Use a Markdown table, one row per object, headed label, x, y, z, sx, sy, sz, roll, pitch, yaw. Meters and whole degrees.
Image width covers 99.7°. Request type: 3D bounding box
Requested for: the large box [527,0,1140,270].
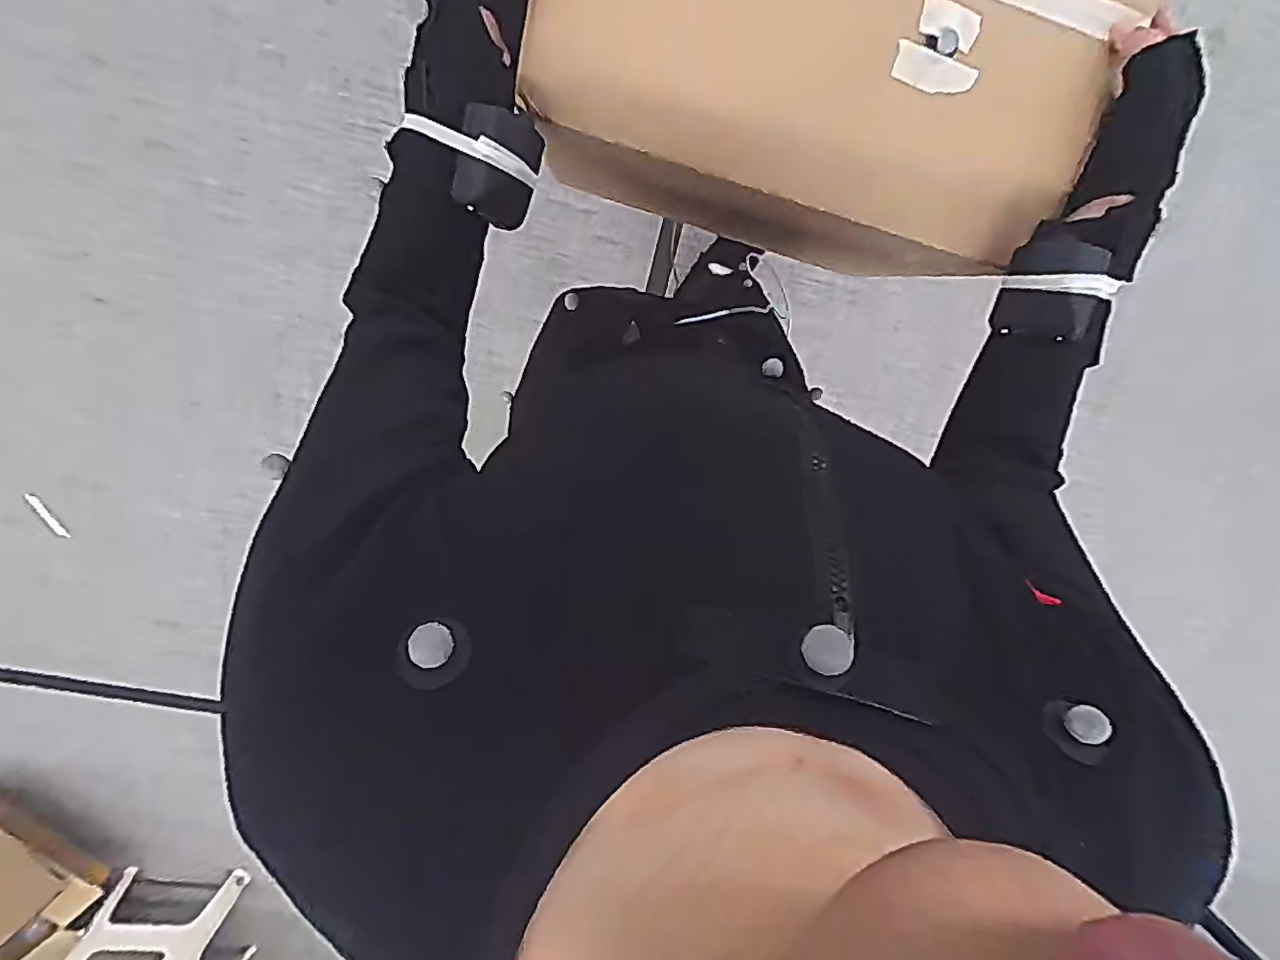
| label | x | y | z | sx | sy | sz | roll | pitch | yaw |
| --- | --- | --- | --- | --- | --- | --- | --- | --- | --- |
| large box | 0.135 | -0.402 | 0.493 | 0.408 | 0.320 | 0.320 | 13 | 110 | -9 |
